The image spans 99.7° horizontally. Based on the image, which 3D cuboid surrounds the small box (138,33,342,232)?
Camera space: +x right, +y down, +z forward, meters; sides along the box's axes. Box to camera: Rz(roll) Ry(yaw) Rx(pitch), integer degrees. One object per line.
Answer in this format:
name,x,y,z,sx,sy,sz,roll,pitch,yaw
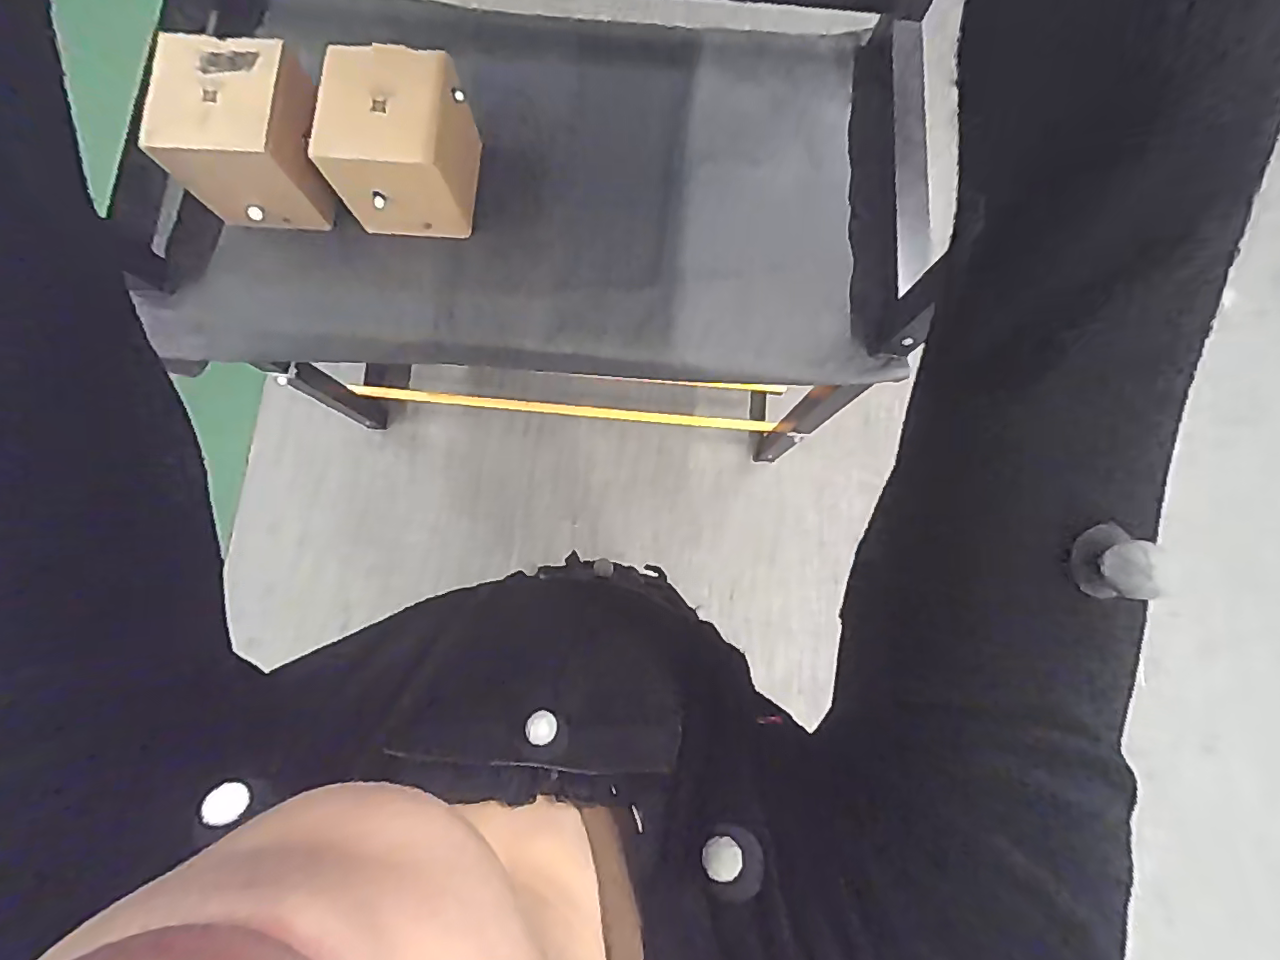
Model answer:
small box,-0.565,-0.497,0.791,0.168,0.176,0.179,2,80,0
